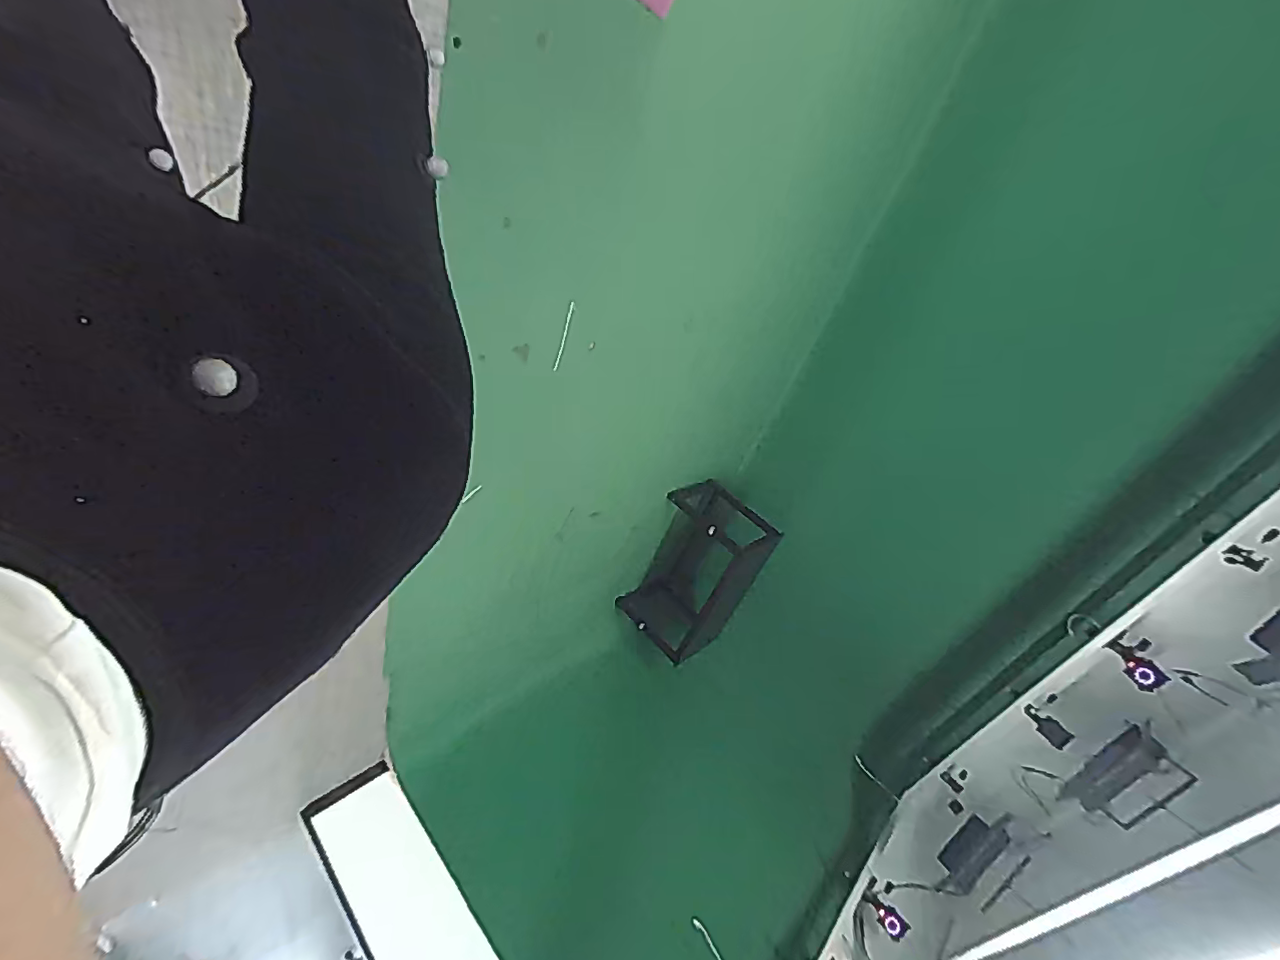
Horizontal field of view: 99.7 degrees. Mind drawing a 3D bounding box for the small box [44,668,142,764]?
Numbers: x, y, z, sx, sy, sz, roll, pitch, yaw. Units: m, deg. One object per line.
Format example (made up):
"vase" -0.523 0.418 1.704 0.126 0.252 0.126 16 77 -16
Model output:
"small box" -1.692 0.723 1.670 0.179 0.176 0.168 -22 142 -42
